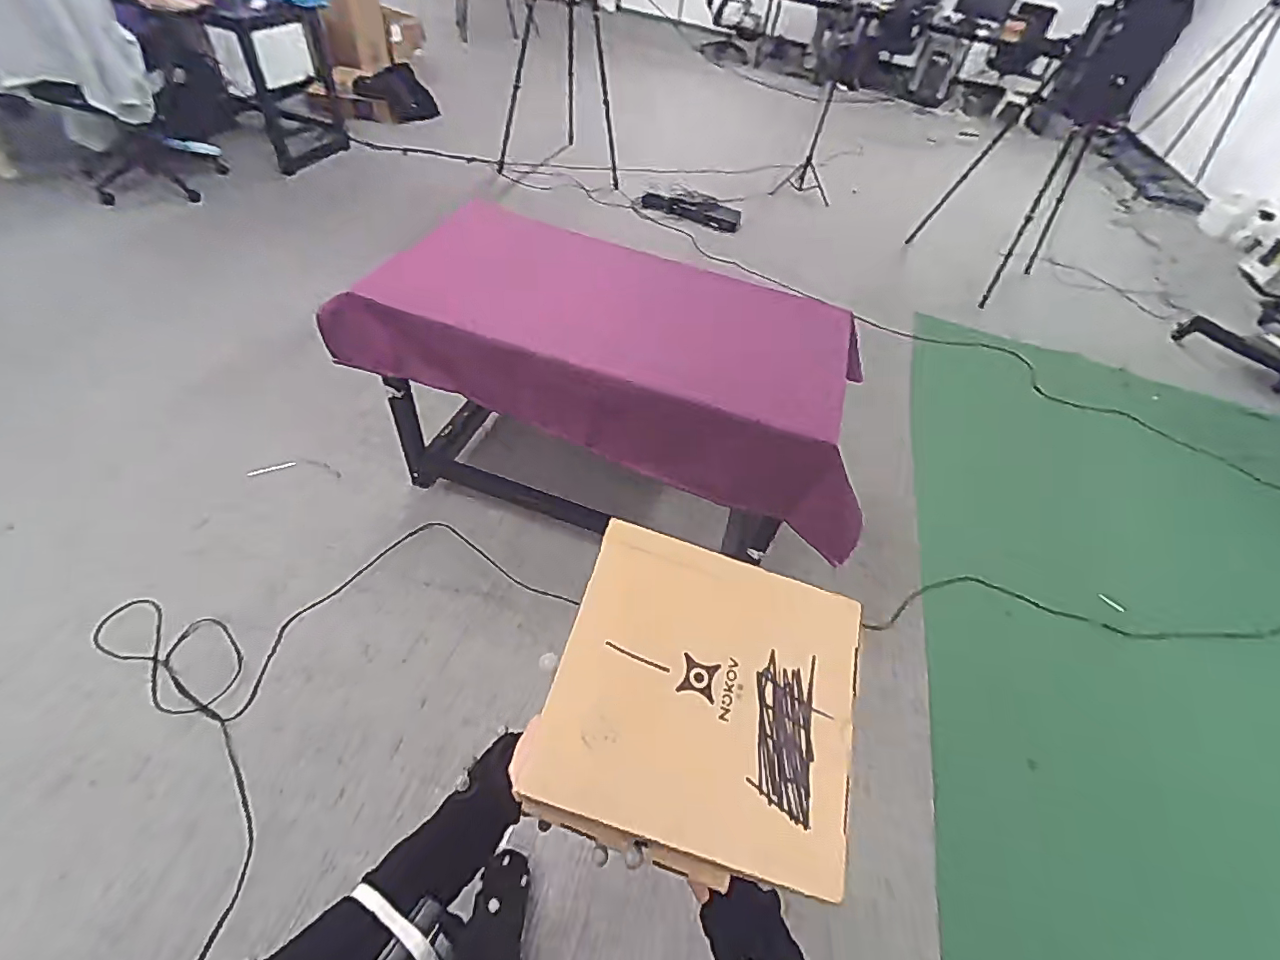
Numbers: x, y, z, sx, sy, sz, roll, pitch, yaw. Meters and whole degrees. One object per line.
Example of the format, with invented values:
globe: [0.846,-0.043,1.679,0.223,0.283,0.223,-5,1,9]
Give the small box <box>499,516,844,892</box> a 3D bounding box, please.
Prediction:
small box: [0.017,0.156,0.382,0.179,0.176,0.168,19,56,0]

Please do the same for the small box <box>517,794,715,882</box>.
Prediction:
small box: [-0.009,0.245,0.518,0.168,0.176,0.179,22,57,2]
